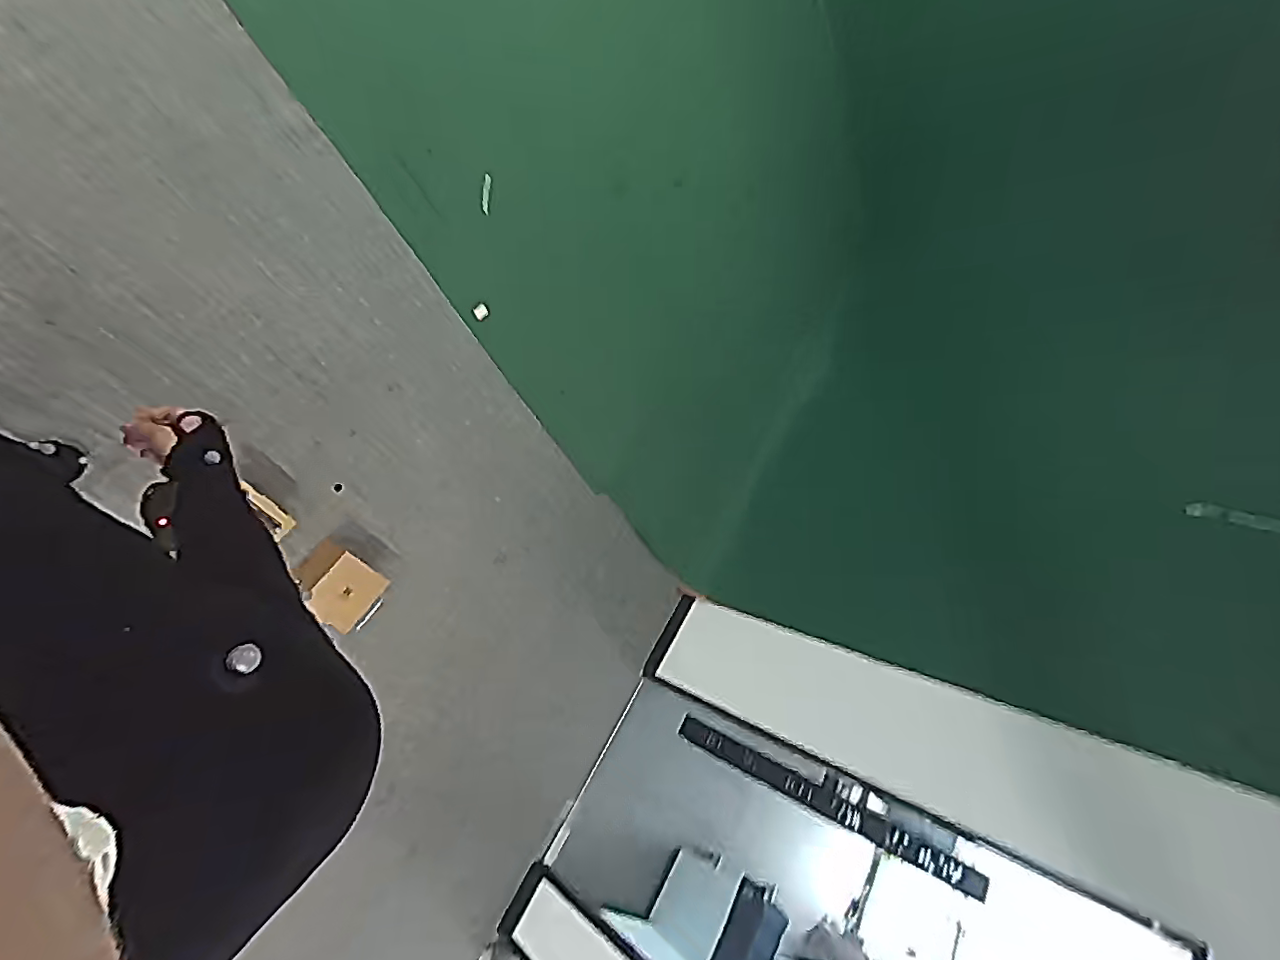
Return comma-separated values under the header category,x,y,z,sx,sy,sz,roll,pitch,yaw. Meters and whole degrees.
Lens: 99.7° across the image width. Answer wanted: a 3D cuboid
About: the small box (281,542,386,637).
category,x,y,z,sx,sy,sz,roll,pitch,yaw
small box,-0.859,0.300,1.506,0.179,0.176,0.168,-56,135,-26
